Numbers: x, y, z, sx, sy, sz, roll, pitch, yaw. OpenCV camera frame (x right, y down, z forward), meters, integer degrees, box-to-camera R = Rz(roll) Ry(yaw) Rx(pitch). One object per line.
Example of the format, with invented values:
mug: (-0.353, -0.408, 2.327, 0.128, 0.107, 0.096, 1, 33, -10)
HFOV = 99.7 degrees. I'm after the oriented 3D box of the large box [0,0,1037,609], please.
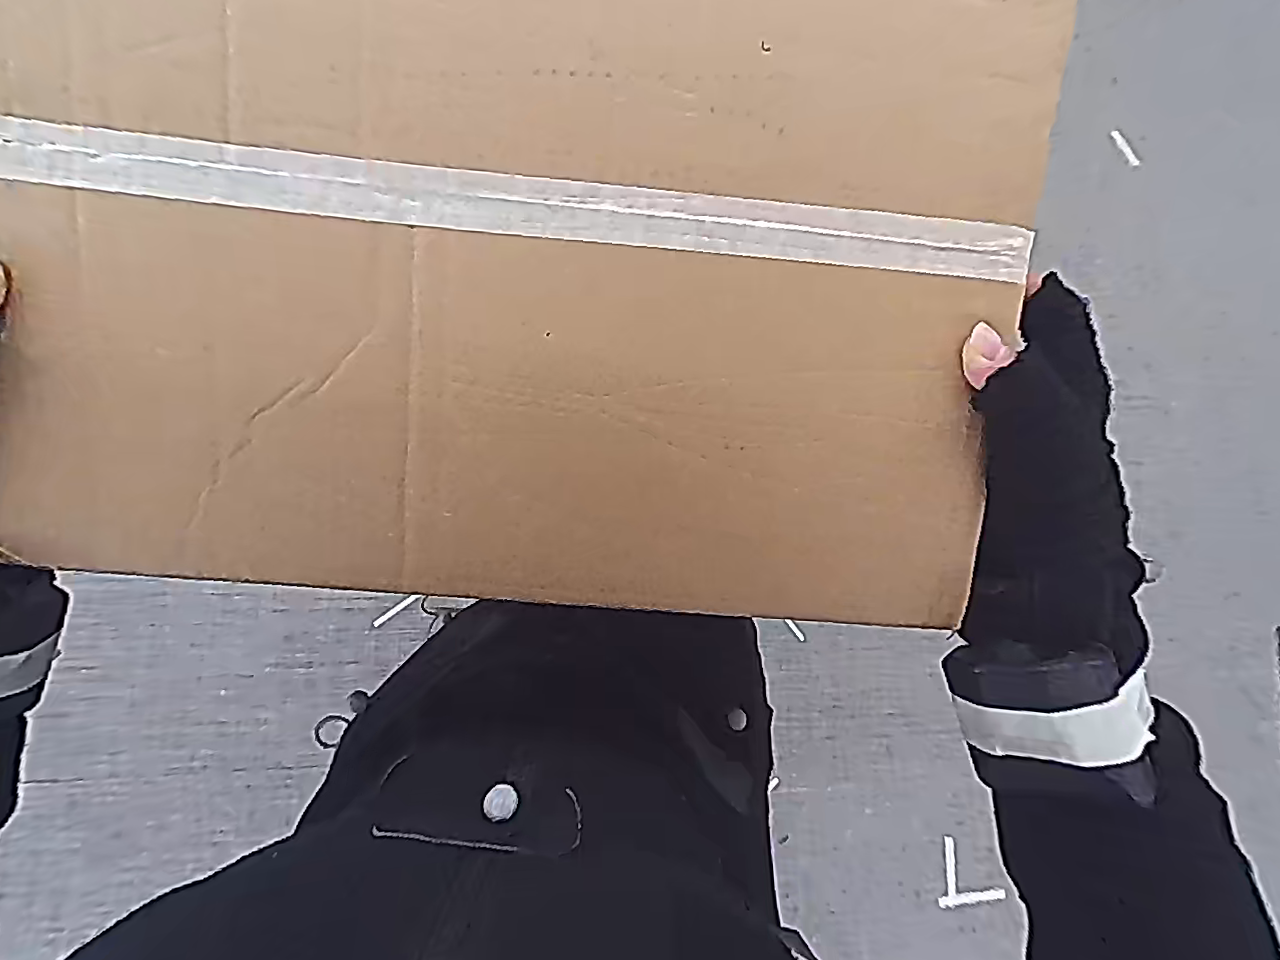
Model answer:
large box: (-0.054, -0.127, 0.368, 0.408, 0.320, 0.320, 5, 98, -4)
